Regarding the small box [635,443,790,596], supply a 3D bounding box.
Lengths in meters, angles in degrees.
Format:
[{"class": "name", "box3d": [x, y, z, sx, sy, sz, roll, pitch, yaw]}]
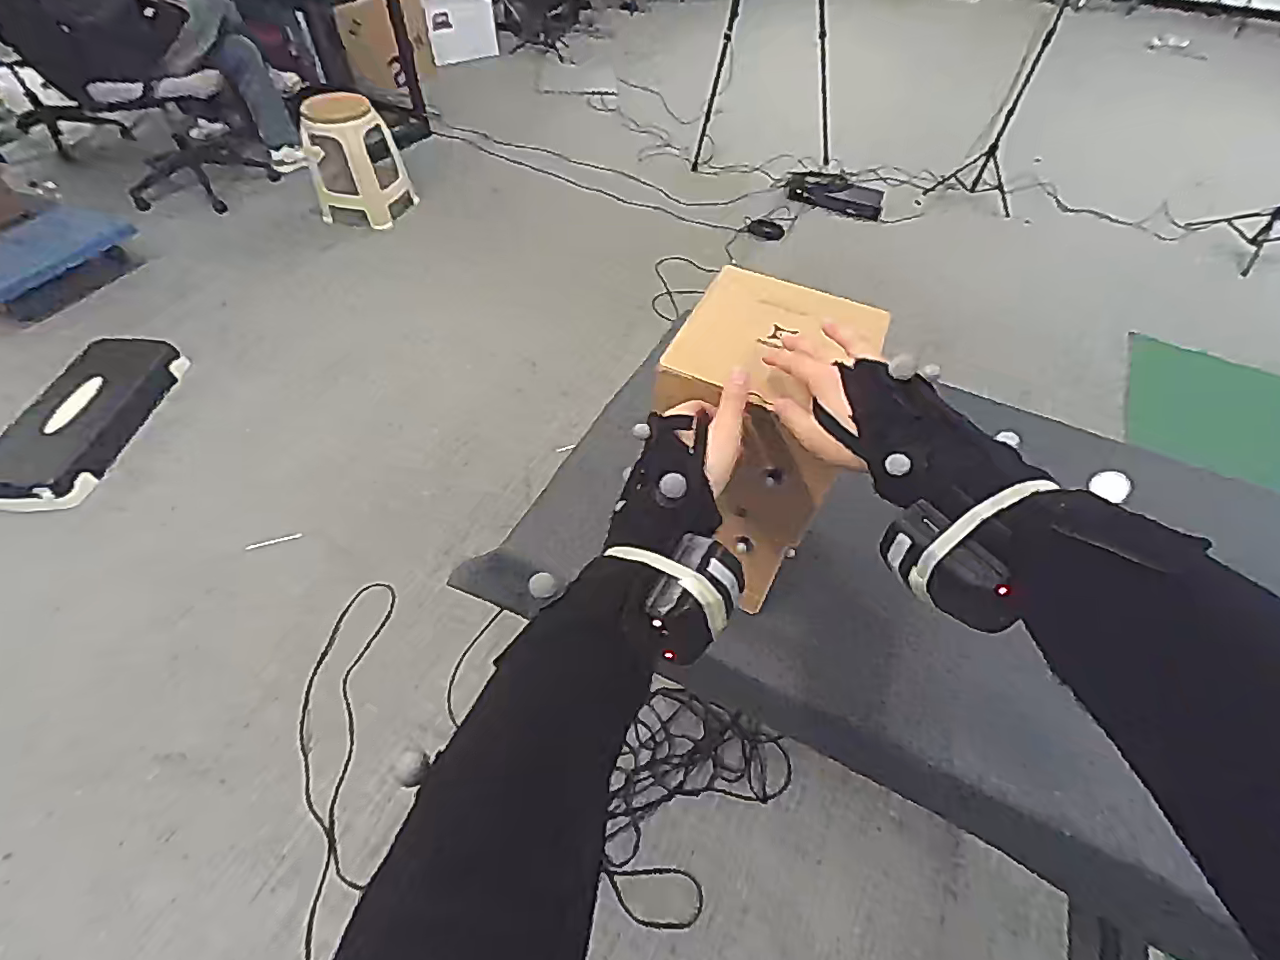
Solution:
[{"class": "small box", "box3d": [0.105, 0.013, 0.658, 0.179, 0.176, 0.168, 26, 55, 16]}]

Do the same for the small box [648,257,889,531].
[{"class": "small box", "box3d": [0.114, -0.079, 0.524, 0.168, 0.176, 0.179, 22, 53, 11]}]
